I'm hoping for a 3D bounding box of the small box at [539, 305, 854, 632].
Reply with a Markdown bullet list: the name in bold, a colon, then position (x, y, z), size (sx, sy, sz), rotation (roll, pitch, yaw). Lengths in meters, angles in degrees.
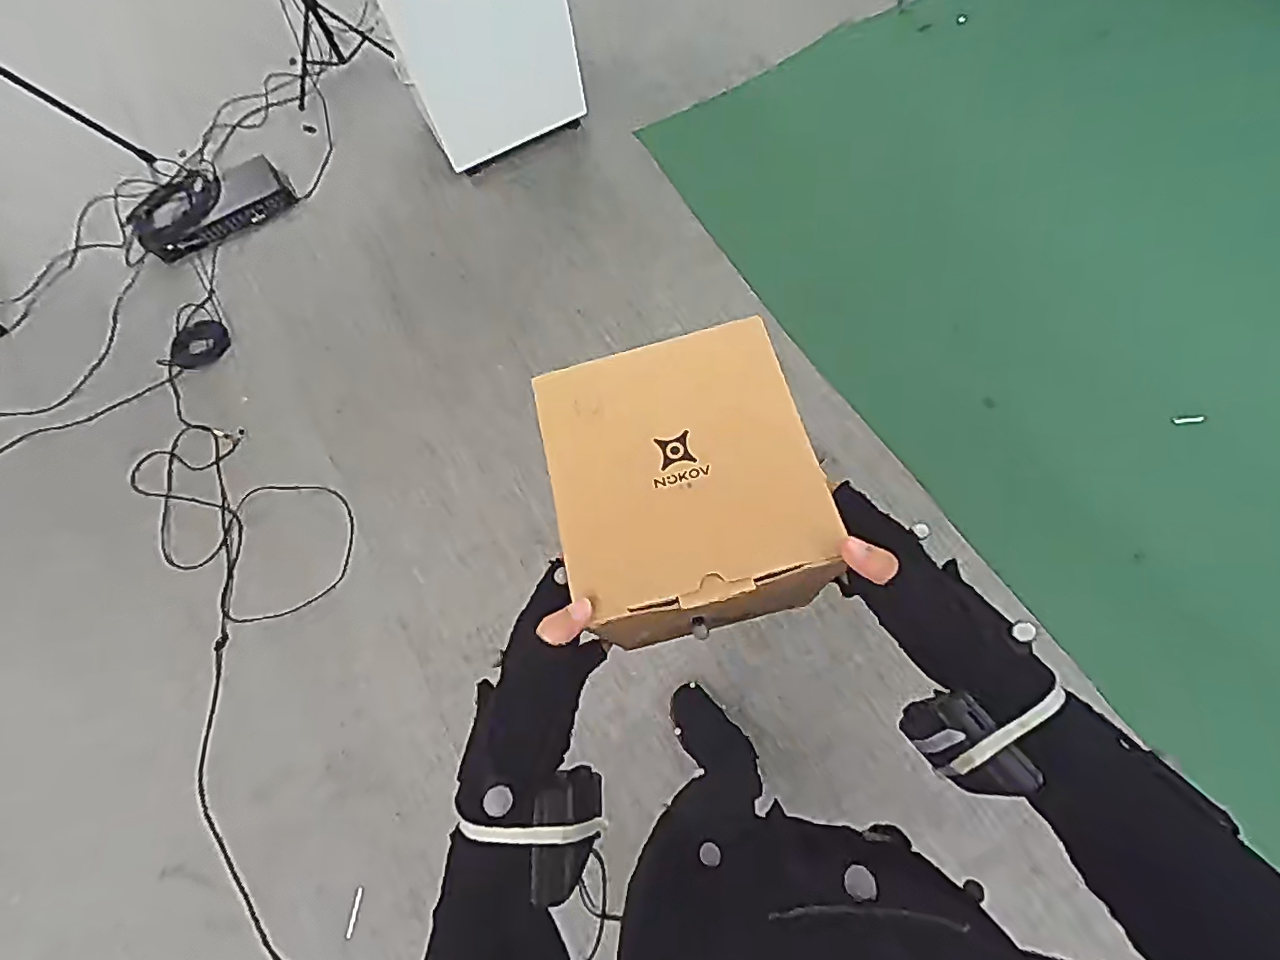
- **small box**: position (0.035, 0.005, 0.415), size (0.168, 0.176, 0.179), rotation (-15, 68, 2)
